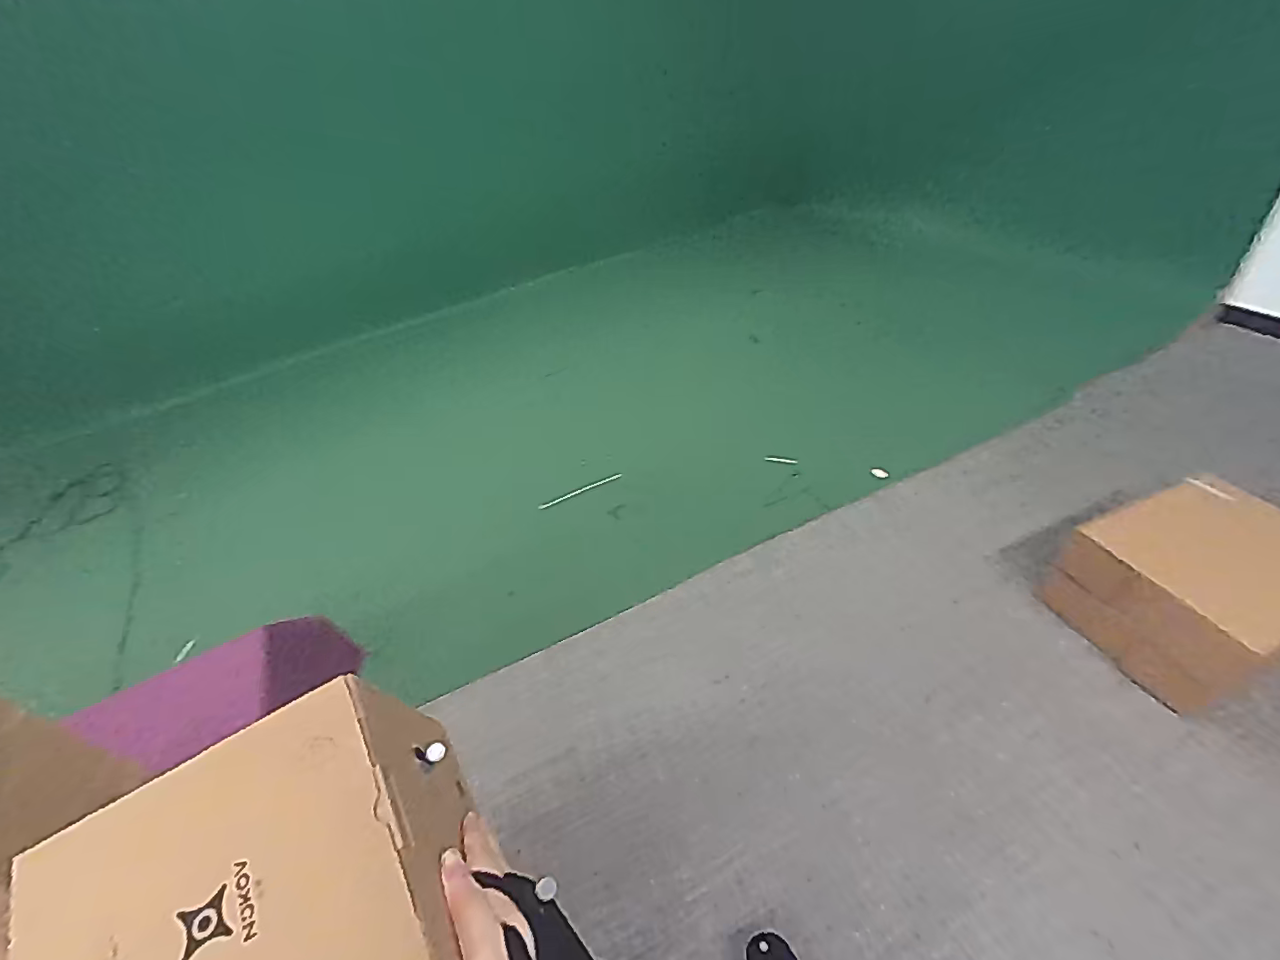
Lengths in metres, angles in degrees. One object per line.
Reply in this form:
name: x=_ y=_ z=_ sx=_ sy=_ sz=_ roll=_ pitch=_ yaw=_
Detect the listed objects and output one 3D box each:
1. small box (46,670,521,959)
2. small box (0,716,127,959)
small box: x=-0.187 y=0.250 z=0.329 sx=0.179 sy=0.176 sz=0.168 roll=-28 pitch=58 yaw=-14
small box: x=-0.702 y=0.390 z=0.555 sx=0.179 sy=0.176 sz=0.168 roll=-24 pitch=42 yaw=-13
